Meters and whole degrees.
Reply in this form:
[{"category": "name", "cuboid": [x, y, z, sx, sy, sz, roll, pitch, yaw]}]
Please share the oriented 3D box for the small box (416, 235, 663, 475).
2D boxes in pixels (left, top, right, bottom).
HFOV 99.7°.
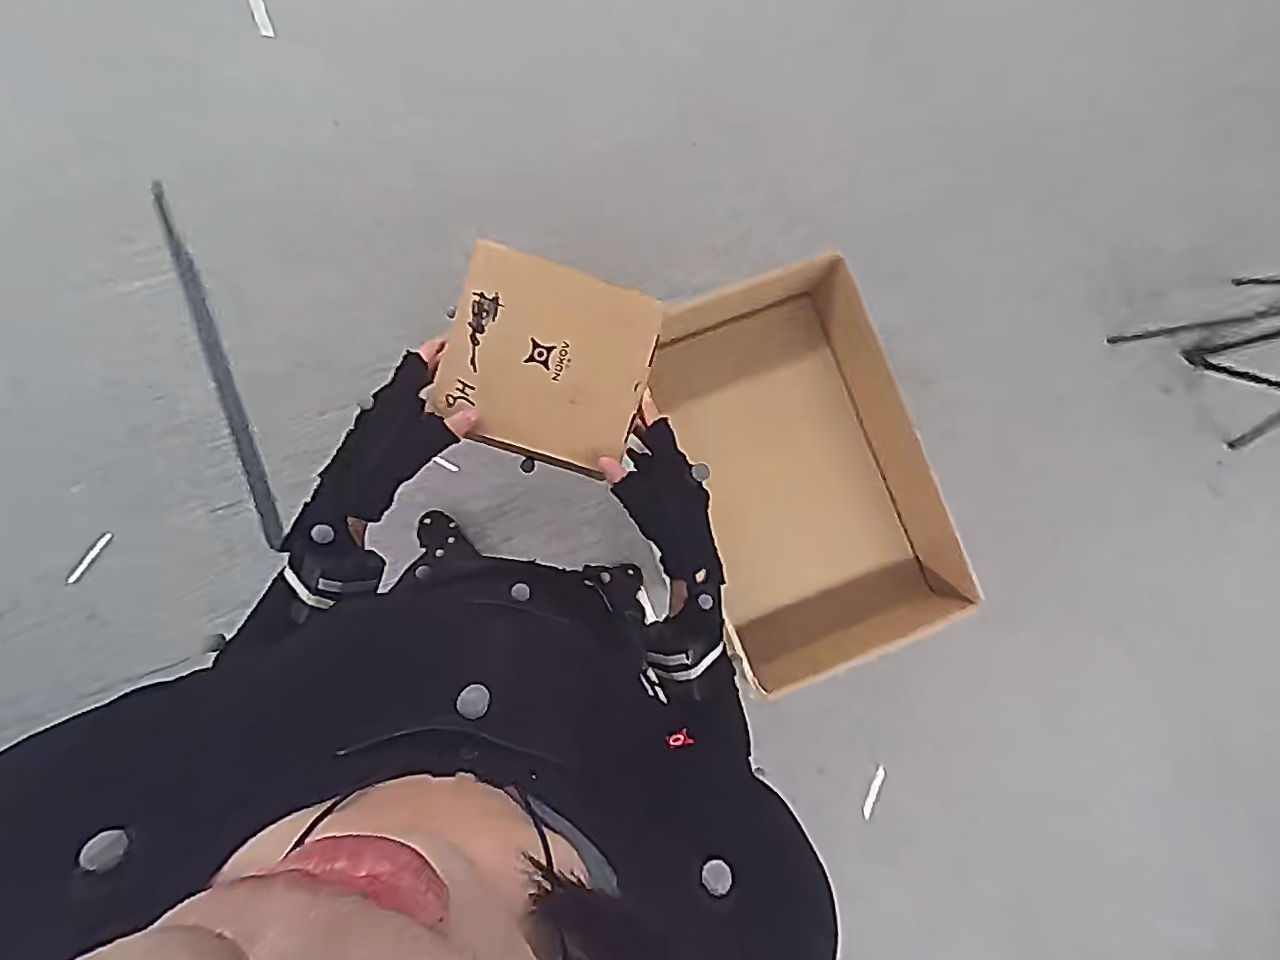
[{"category": "small box", "cuboid": [-0.096, -0.106, 0.547, 0.179, 0.176, 0.168, 17, 85, -8]}]
